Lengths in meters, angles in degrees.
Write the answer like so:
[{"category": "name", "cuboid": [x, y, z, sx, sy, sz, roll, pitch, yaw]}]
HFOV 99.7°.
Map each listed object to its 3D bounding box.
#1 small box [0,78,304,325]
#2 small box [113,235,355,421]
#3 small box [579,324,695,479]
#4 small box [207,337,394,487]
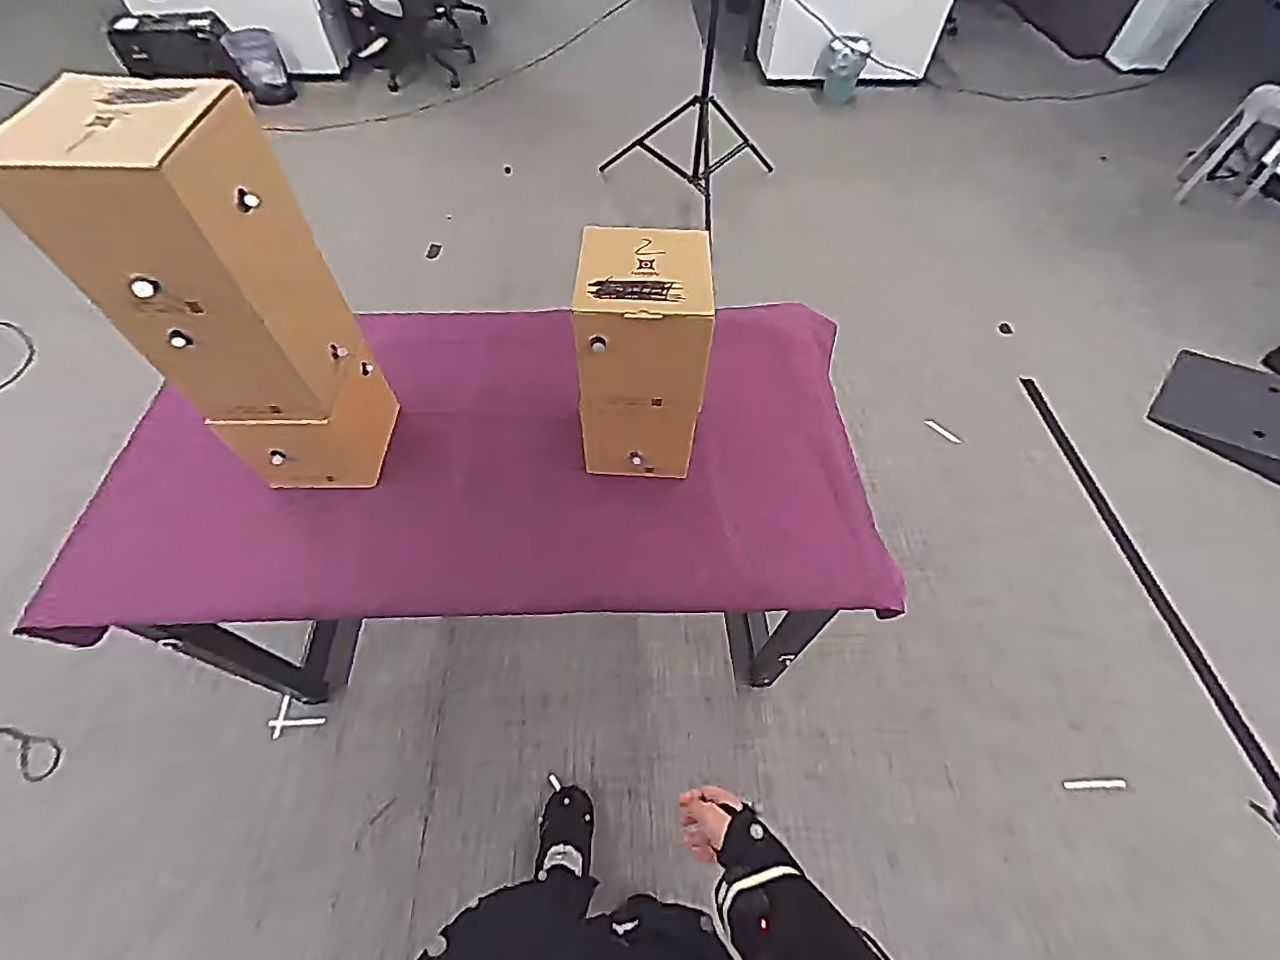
[{"category": "small box", "cuboid": [-0.492, -0.287, 0.568, 0.168, 0.176, 0.179, 0, 57, -2]}, {"category": "small box", "cuboid": [-0.500, -0.197, 0.706, 0.168, 0.176, 0.179, -1, 55, -2]}, {"category": "small box", "cuboid": [-0.002, -0.124, 0.869, 0.168, 0.176, 0.179, 3, 56, 1]}, {"category": "small box", "cuboid": [-0.504, -0.100, 0.838, 0.168, 0.176, 0.179, 0, 56, -2]}]
